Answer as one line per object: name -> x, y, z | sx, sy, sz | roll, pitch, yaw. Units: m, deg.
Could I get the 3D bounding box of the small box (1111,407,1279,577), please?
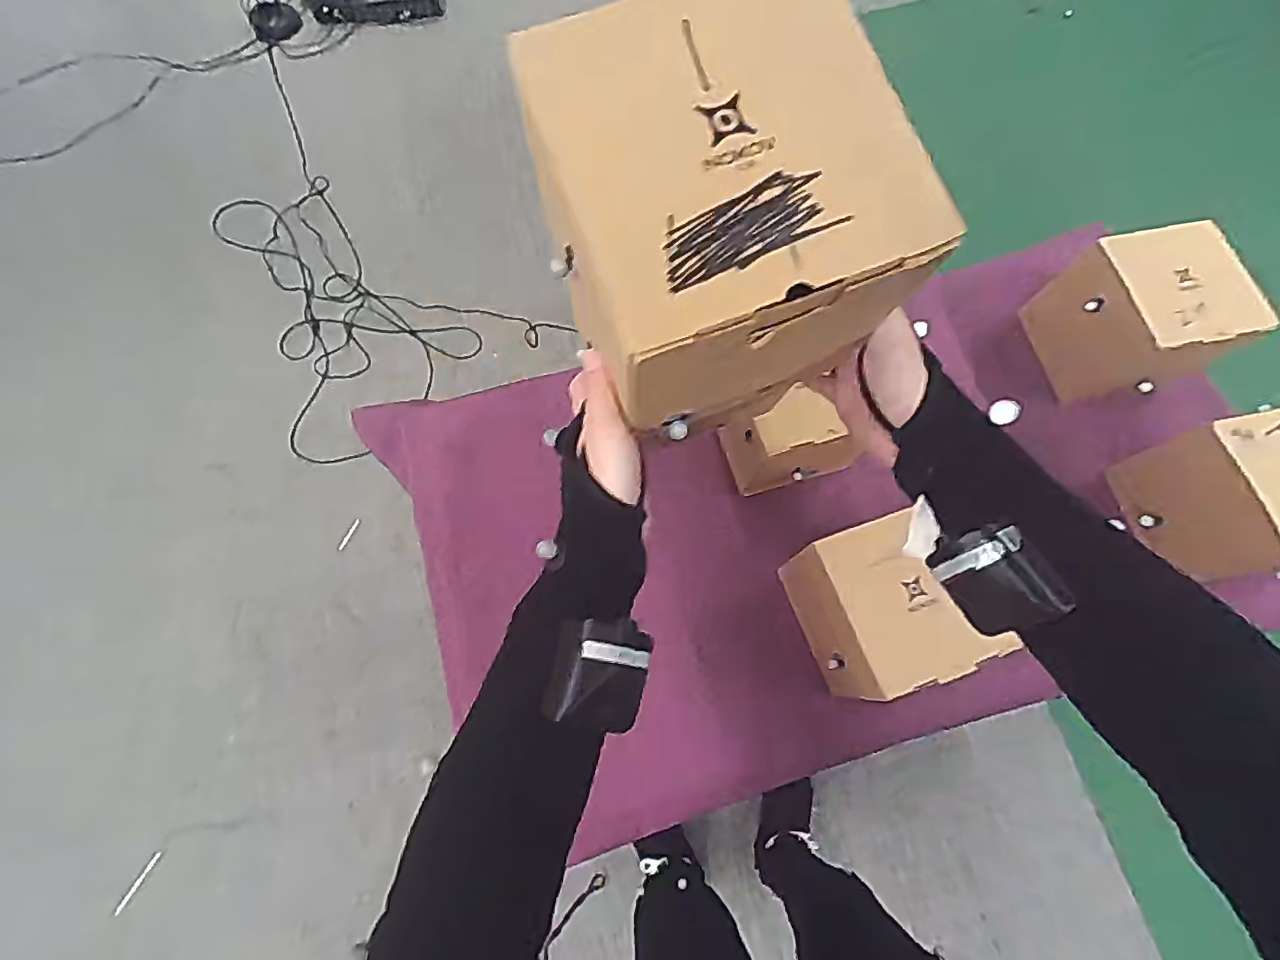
small box -> 0.764, 0.020, 0.679 | 0.168, 0.176, 0.179 | -10, 71, -2

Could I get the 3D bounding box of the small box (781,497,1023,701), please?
small box -> 0.291, 0.144, 0.645 | 0.168, 0.176, 0.179 | -18, 72, -6

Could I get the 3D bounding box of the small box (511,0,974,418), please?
small box -> 0.044, -0.150, 0.325 | 0.168, 0.176, 0.179 | -20, 82, -3

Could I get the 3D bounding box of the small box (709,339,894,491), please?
small box -> 0.197, -0.105, 0.728 | 0.168, 0.176, 0.179 | -16, 74, -5

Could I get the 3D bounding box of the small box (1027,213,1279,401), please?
small box -> 0.700, -0.236, 0.763 | 0.168, 0.176, 0.179 | -10, 72, -2
